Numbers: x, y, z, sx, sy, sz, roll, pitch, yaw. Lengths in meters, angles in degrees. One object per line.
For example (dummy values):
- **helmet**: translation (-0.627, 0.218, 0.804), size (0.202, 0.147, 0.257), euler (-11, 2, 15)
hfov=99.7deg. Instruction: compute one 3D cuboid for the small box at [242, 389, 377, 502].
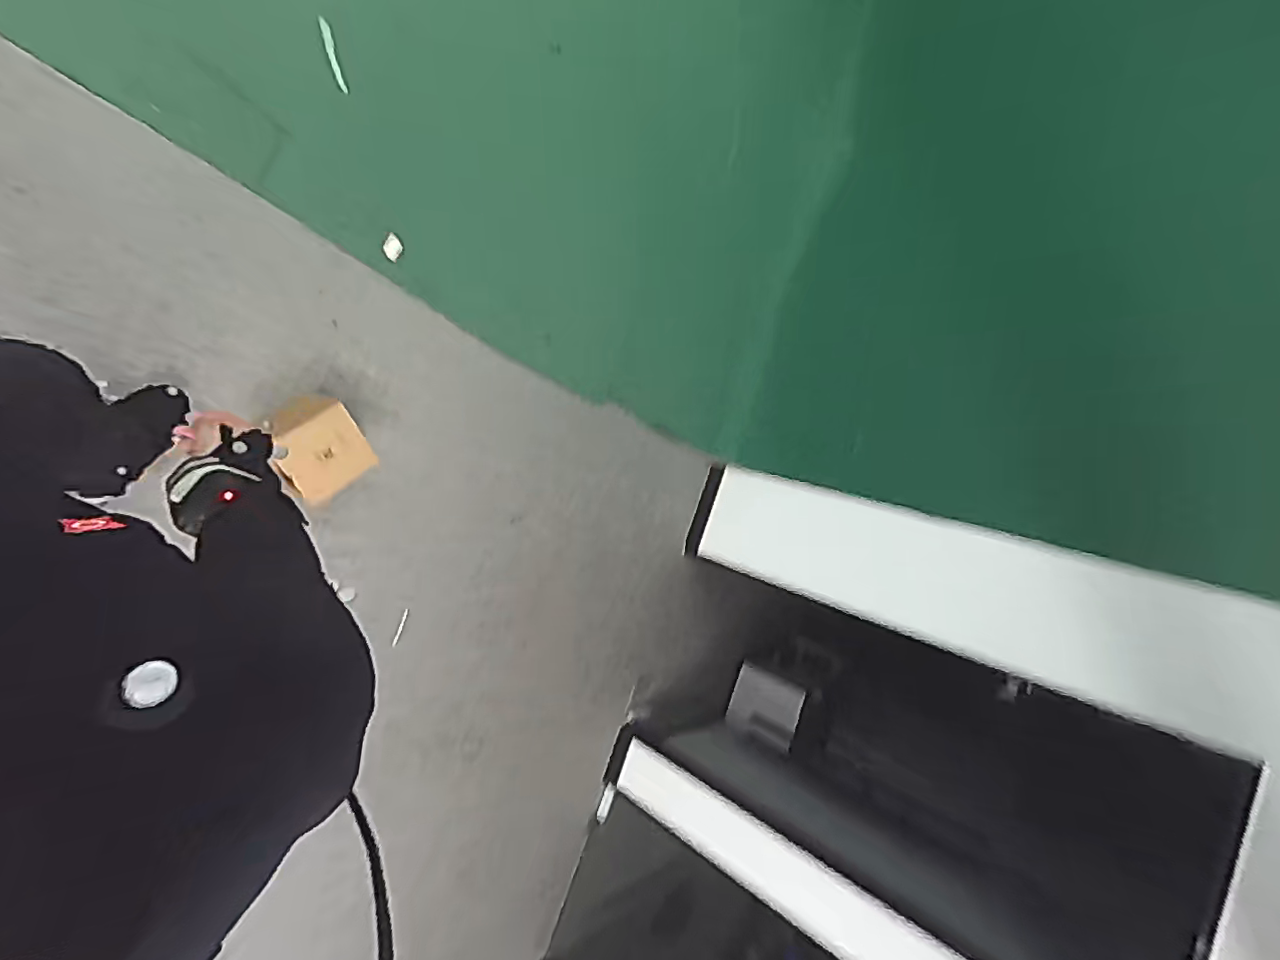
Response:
- **small box**: translation (-0.735, -0.082, 1.196), size (0.179, 0.176, 0.168), euler (-46, 138, -33)
